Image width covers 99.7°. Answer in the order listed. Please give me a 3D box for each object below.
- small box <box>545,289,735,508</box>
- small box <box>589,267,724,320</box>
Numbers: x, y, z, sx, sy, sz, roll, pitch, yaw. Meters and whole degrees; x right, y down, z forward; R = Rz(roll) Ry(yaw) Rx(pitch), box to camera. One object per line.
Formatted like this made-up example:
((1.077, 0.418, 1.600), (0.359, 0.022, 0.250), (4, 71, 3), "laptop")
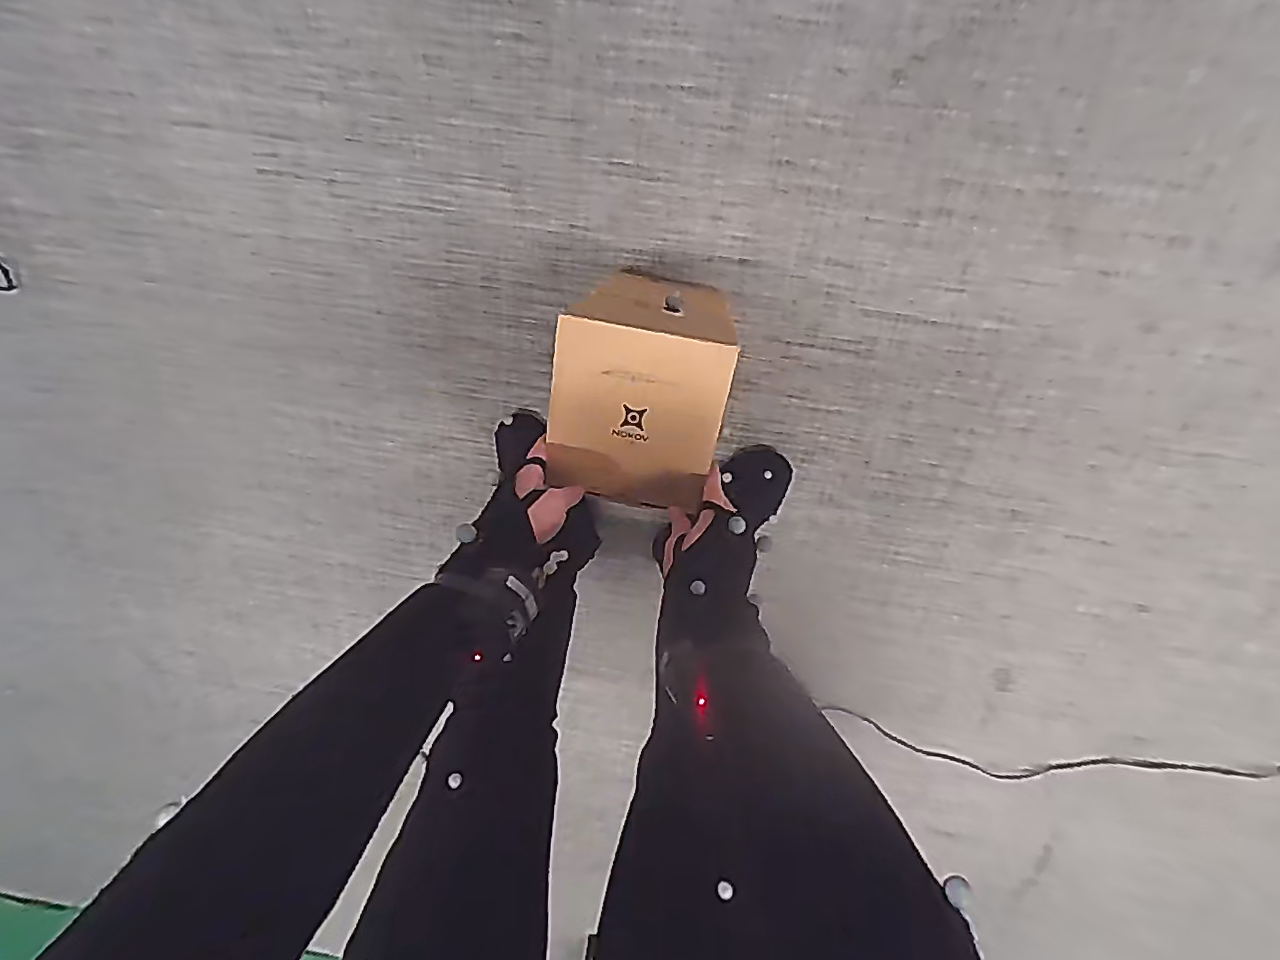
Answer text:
((0.003, -0.096, 0.591), (0.168, 0.176, 0.179), (10, 117, 1), "small box")
((0.017, -0.174, 0.736), (0.168, 0.176, 0.179), (12, 120, 2), "small box")
